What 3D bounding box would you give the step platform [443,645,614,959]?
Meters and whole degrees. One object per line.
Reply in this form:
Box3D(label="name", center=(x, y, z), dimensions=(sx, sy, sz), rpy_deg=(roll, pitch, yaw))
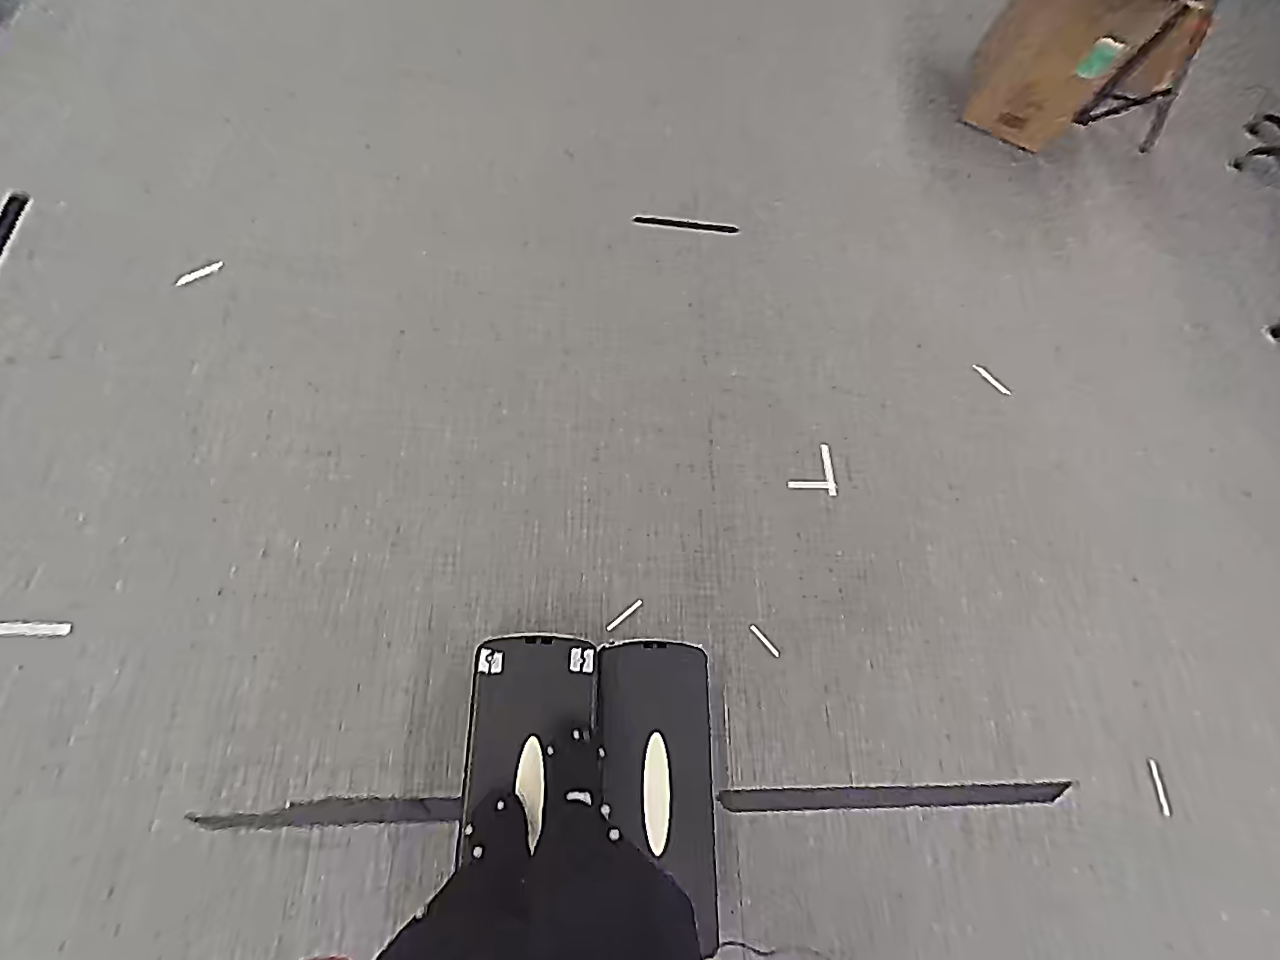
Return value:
Box3D(label="step platform", center=(-0.227, 0.718, 1.184), dimensions=(0.286, 0.204, 0.684), rpy_deg=(7, 66, -7))
